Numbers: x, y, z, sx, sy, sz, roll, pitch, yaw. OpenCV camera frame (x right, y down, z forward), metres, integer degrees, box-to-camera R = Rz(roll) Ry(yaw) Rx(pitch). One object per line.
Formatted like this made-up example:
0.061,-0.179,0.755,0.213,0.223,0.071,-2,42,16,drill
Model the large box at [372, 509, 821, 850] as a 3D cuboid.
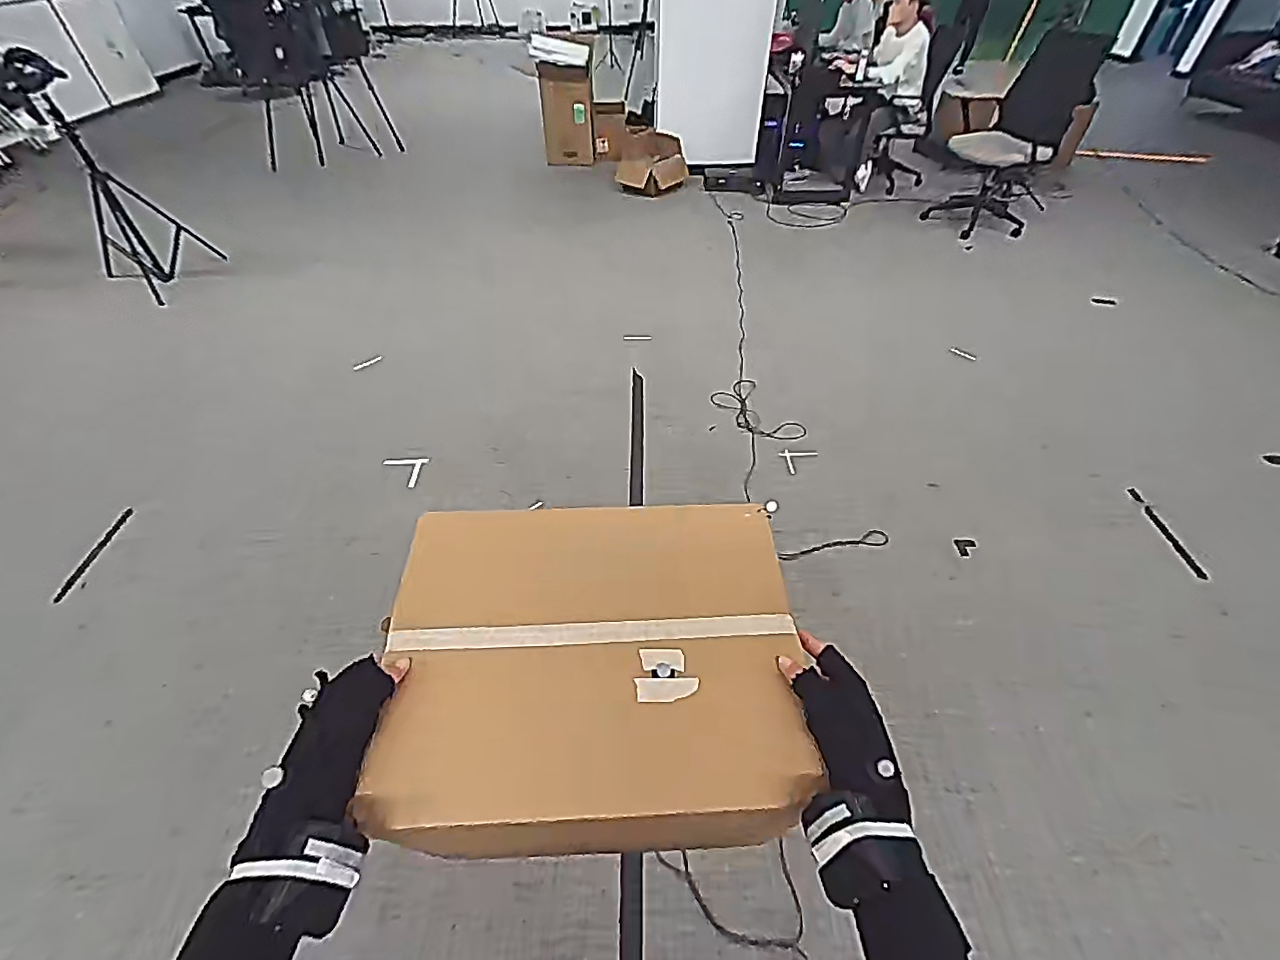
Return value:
-0.047,0.253,0.678,0.408,0.320,0.320,-1,52,-3,large box
